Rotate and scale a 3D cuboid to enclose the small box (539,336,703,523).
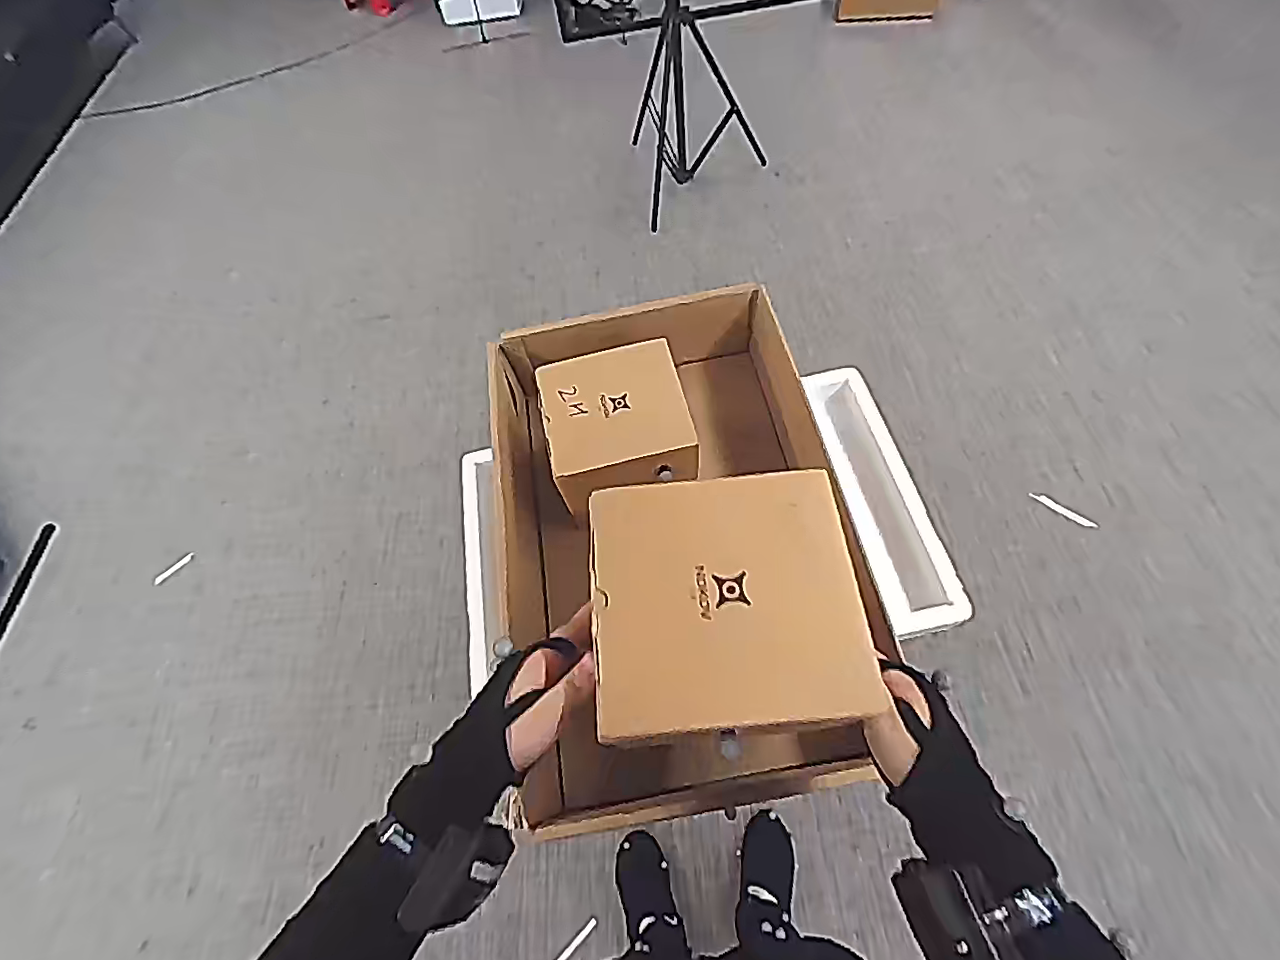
[{"bbox_3d":[-0.023,-0.060,0.726,0.179,0.176,0.168,-13,63,-2],"label":"small box"}]
